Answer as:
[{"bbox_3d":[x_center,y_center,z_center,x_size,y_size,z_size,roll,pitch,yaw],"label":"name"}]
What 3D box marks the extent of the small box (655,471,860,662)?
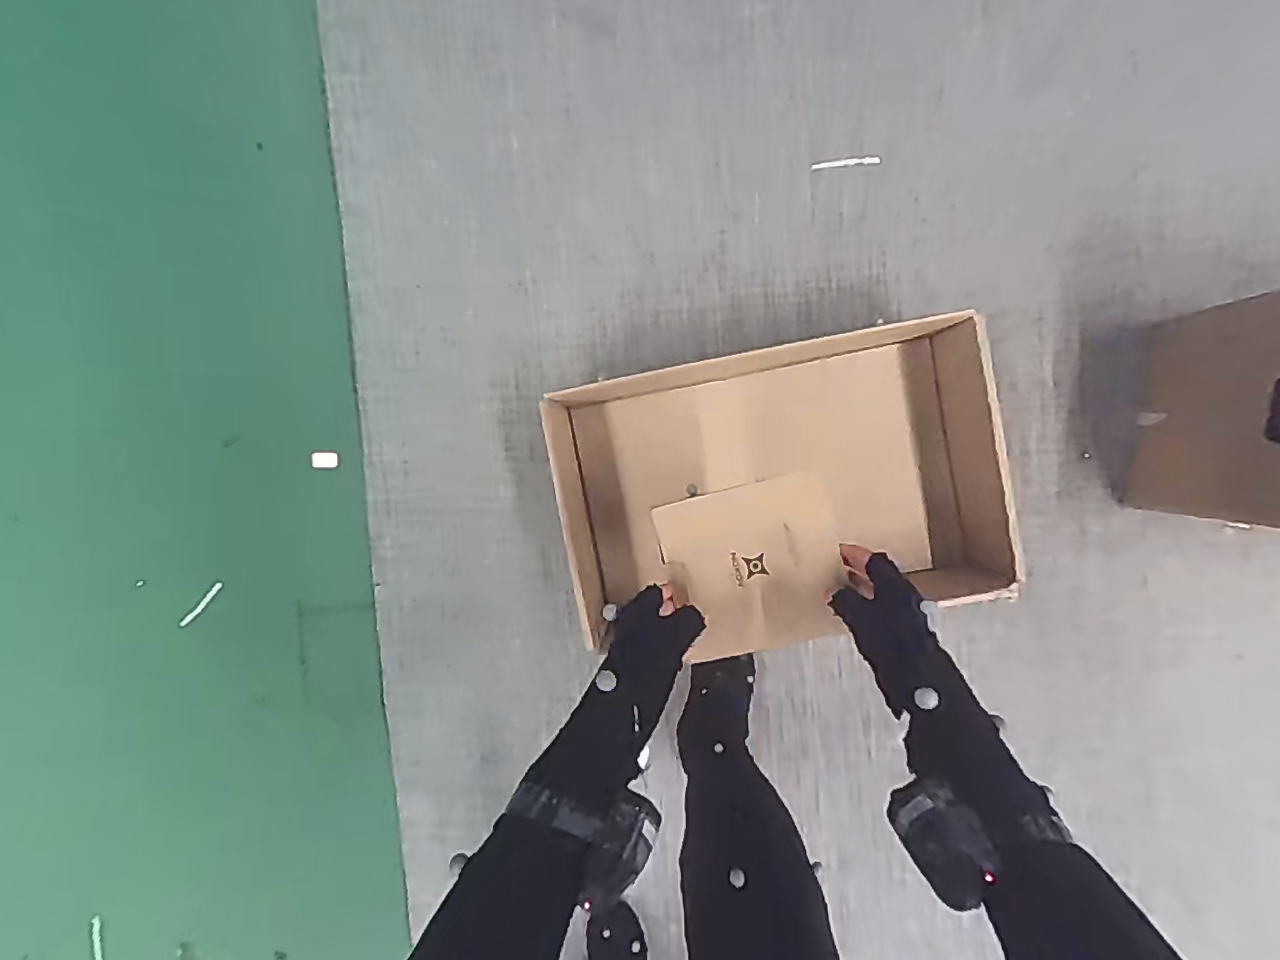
[{"bbox_3d":[0.130,0.093,0.630,0.179,0.176,0.168,-15,86,8],"label":"small box"}]
